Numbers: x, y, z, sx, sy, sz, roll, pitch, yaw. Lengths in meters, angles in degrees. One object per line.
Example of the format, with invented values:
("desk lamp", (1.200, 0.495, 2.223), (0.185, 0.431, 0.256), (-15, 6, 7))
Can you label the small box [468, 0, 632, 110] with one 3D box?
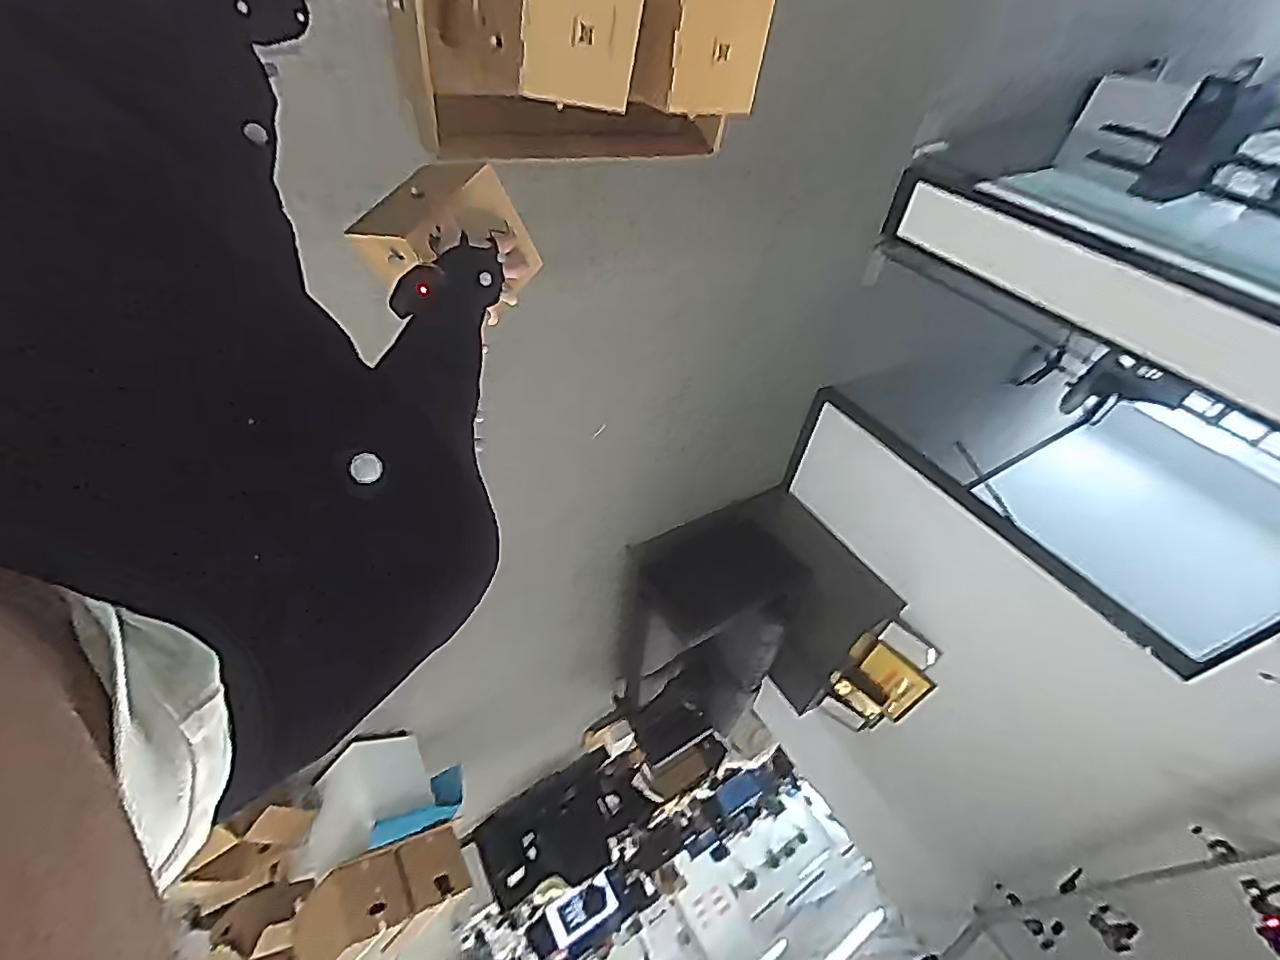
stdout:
("small box", (-0.136, -0.664, 0.780), (0.179, 0.176, 0.168), (-15, 141, -33))

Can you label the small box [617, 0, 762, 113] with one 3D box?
("small box", (0.067, -0.734, 0.901), (0.179, 0.176, 0.168), (-18, 142, -26))
